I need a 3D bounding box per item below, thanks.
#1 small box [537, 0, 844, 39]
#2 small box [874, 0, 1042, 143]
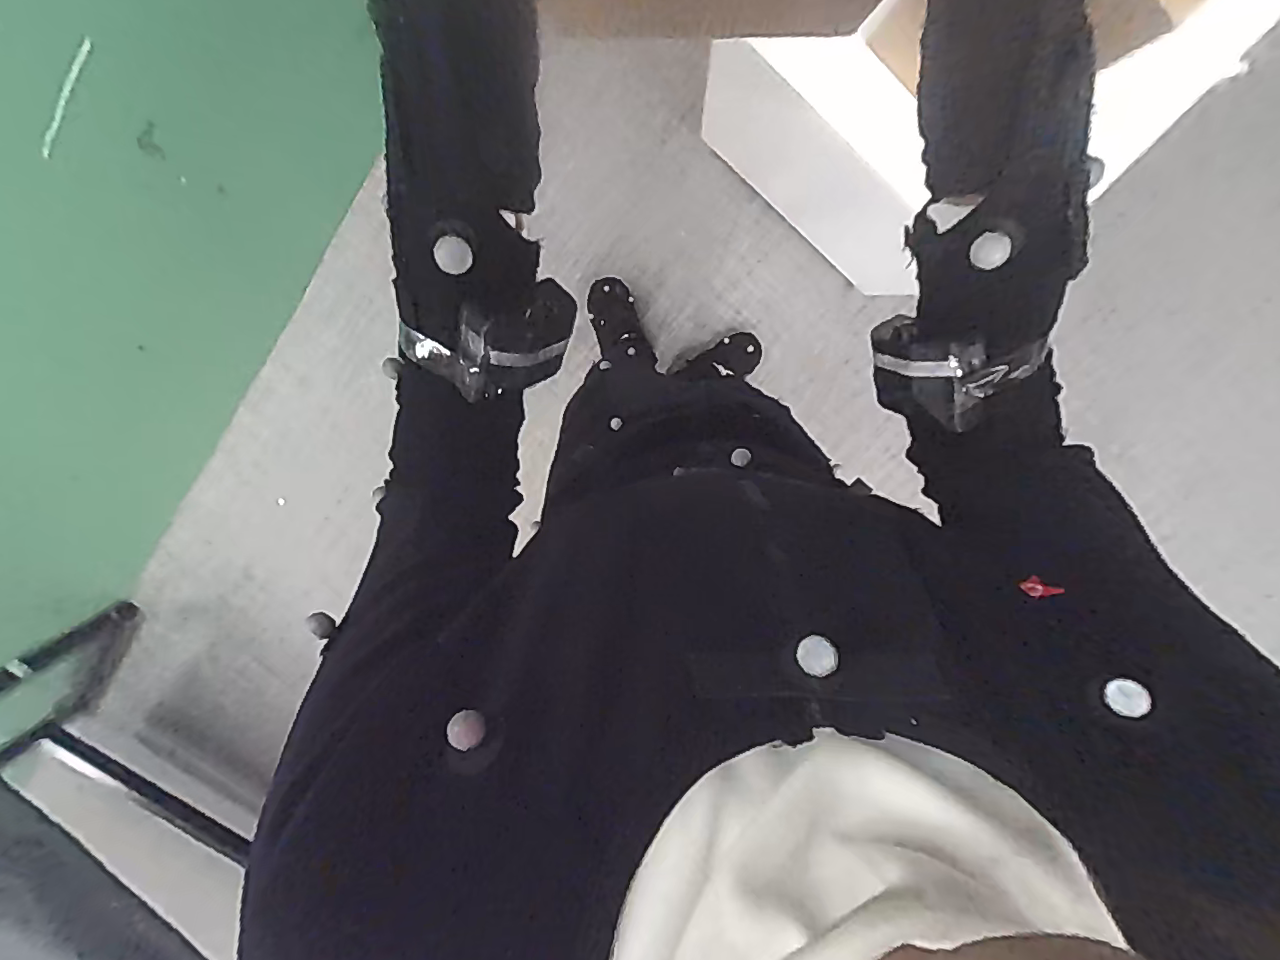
[{"bbox_3d":[0.025,-0.307,0.217,0.179,0.176,0.168,0,112,2],"label":"small box"},{"bbox_3d":[0.383,-0.497,0.568,0.179,0.176,0.168,41,107,-10],"label":"small box"}]
